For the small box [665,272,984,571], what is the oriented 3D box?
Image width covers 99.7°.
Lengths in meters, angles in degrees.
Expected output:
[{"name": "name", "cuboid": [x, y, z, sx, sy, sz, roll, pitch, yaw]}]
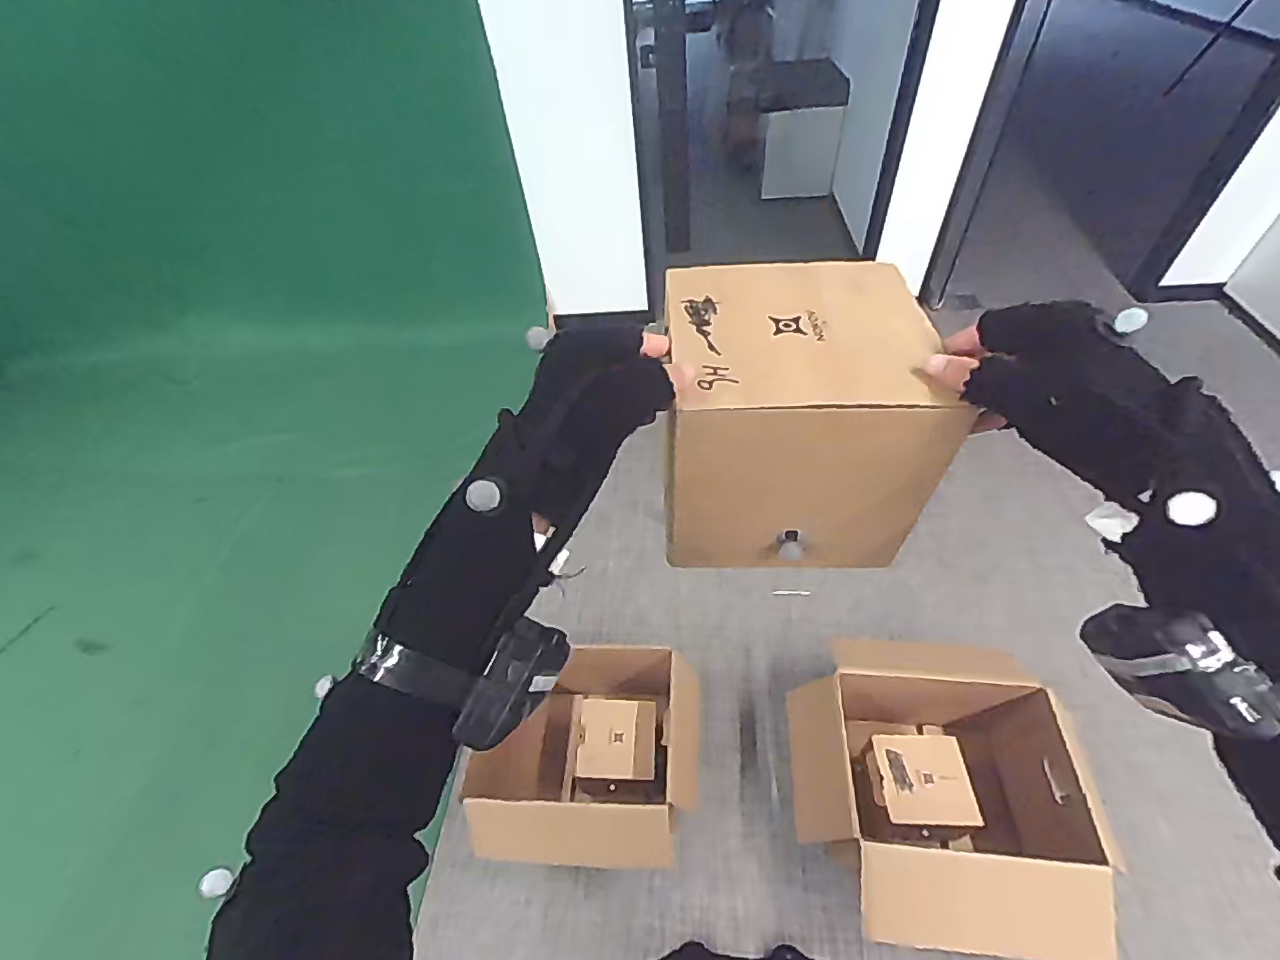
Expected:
[{"name": "small box", "cuboid": [0.112, -0.042, 0.421, 0.179, 0.176, 0.168, -1, 47, 0]}]
